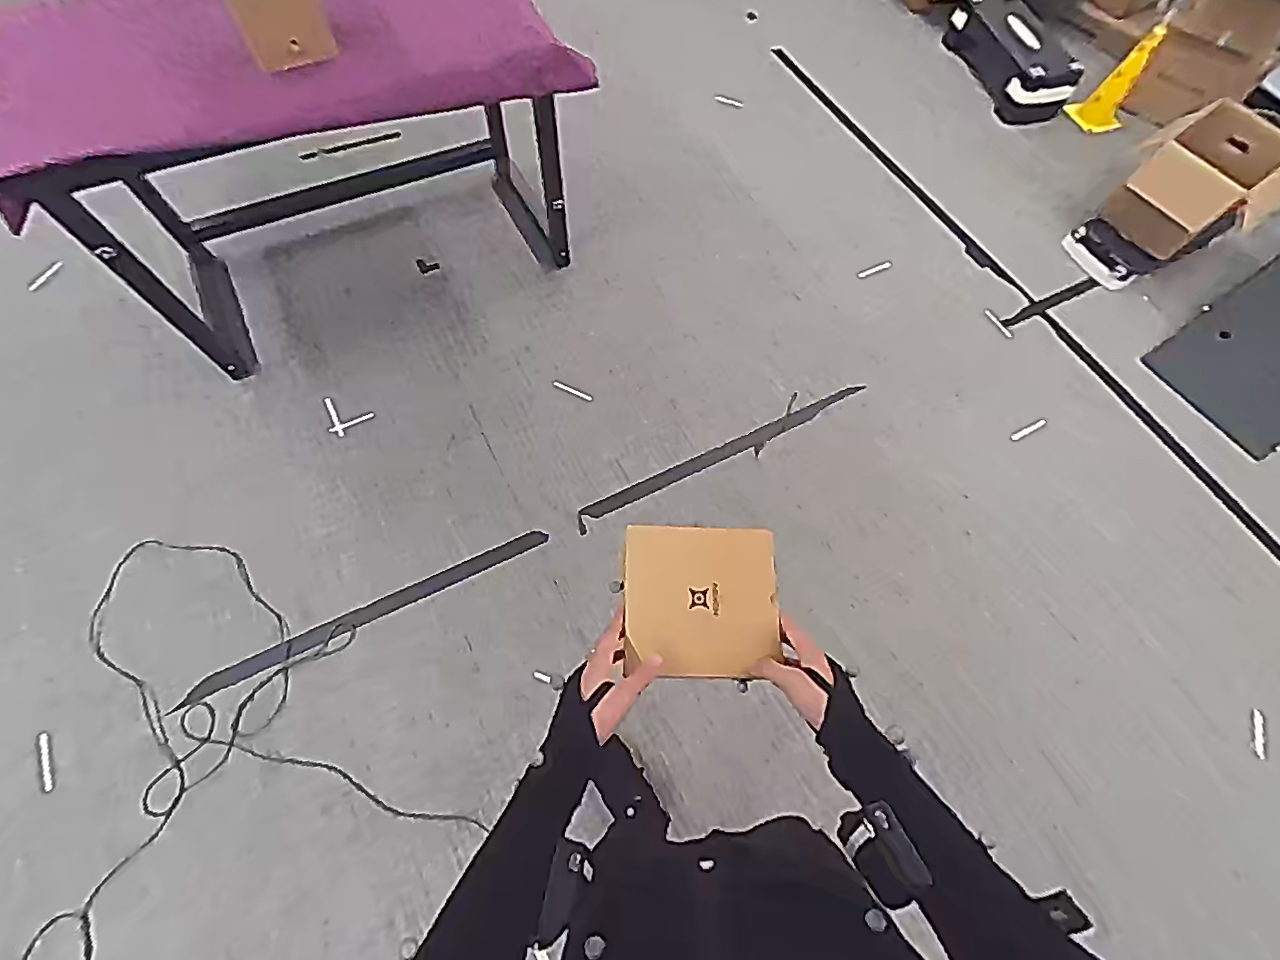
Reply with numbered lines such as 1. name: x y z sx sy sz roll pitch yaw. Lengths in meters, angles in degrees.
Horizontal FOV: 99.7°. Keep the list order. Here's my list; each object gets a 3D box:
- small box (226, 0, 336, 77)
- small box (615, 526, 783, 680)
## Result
1. small box: -0.806 -1.043 1.199 0.179 0.176 0.168 -27 69 -15
2. small box: 0.060 0.159 0.669 0.179 0.176 0.168 2 70 -6
